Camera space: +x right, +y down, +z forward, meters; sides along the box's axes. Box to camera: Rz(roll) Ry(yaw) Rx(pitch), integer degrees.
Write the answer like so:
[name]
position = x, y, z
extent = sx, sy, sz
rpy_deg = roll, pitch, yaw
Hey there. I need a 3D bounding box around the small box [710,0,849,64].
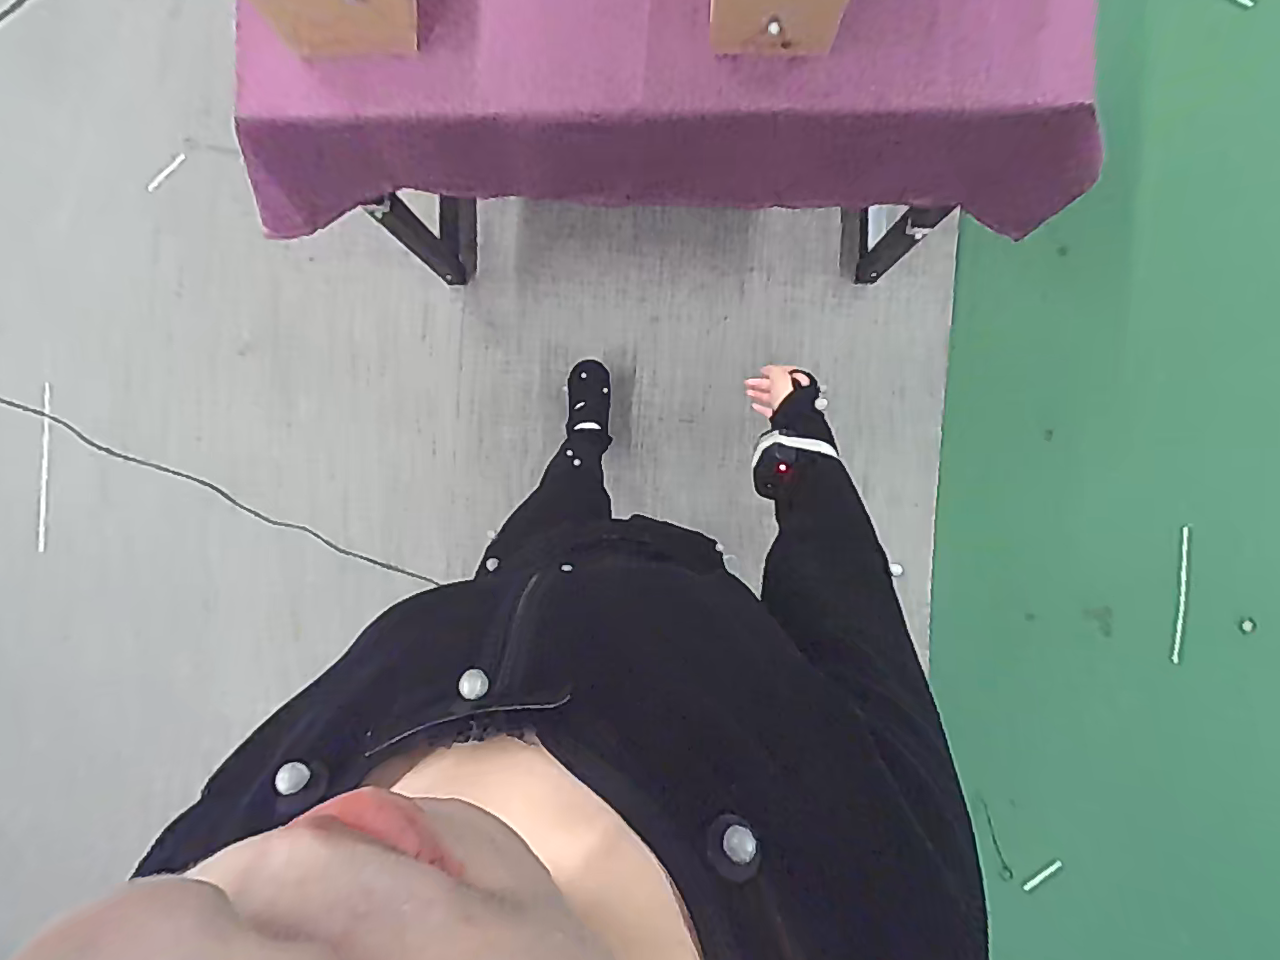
[small box]
position = 0.179, -0.670, 0.671
extent = 0.168, 0.176, 0.179
rpy_deg = 4, 91, 2
